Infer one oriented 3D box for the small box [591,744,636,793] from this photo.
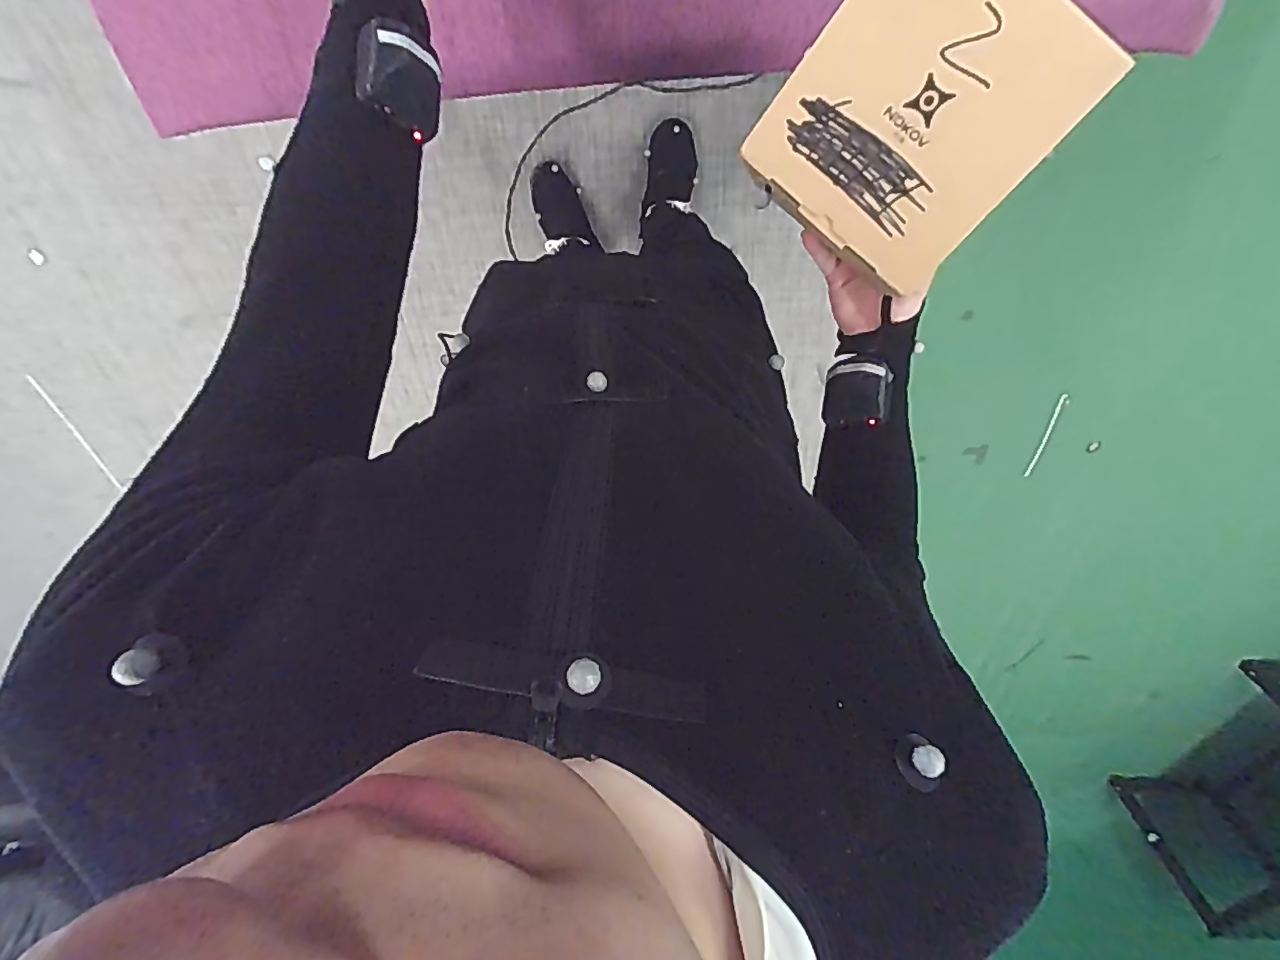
[{"bbox_3d":[-0.098,1.143,2.083,0.168,0.176,0.179,-1,125,0],"label":"small box"}]
